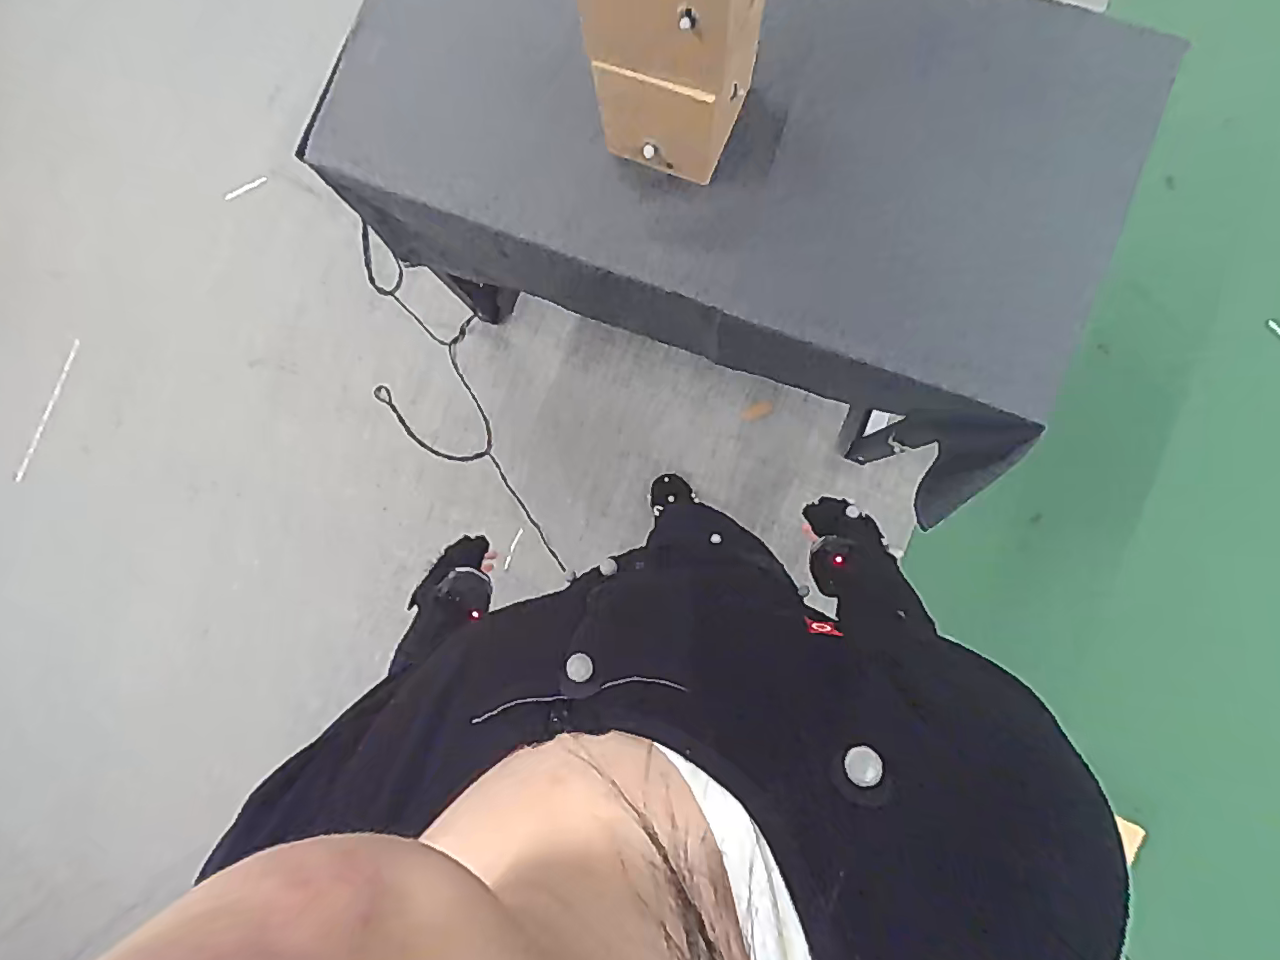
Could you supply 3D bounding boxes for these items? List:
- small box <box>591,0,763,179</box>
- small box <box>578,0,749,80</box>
[{"bbox_3d":[0.051,-0.559,0.735,0.168,0.176,0.179,22,88,6],"label":"small box"},{"bbox_3d":[0.037,-0.576,0.574,0.179,0.176,0.168,20,86,6],"label":"small box"}]
